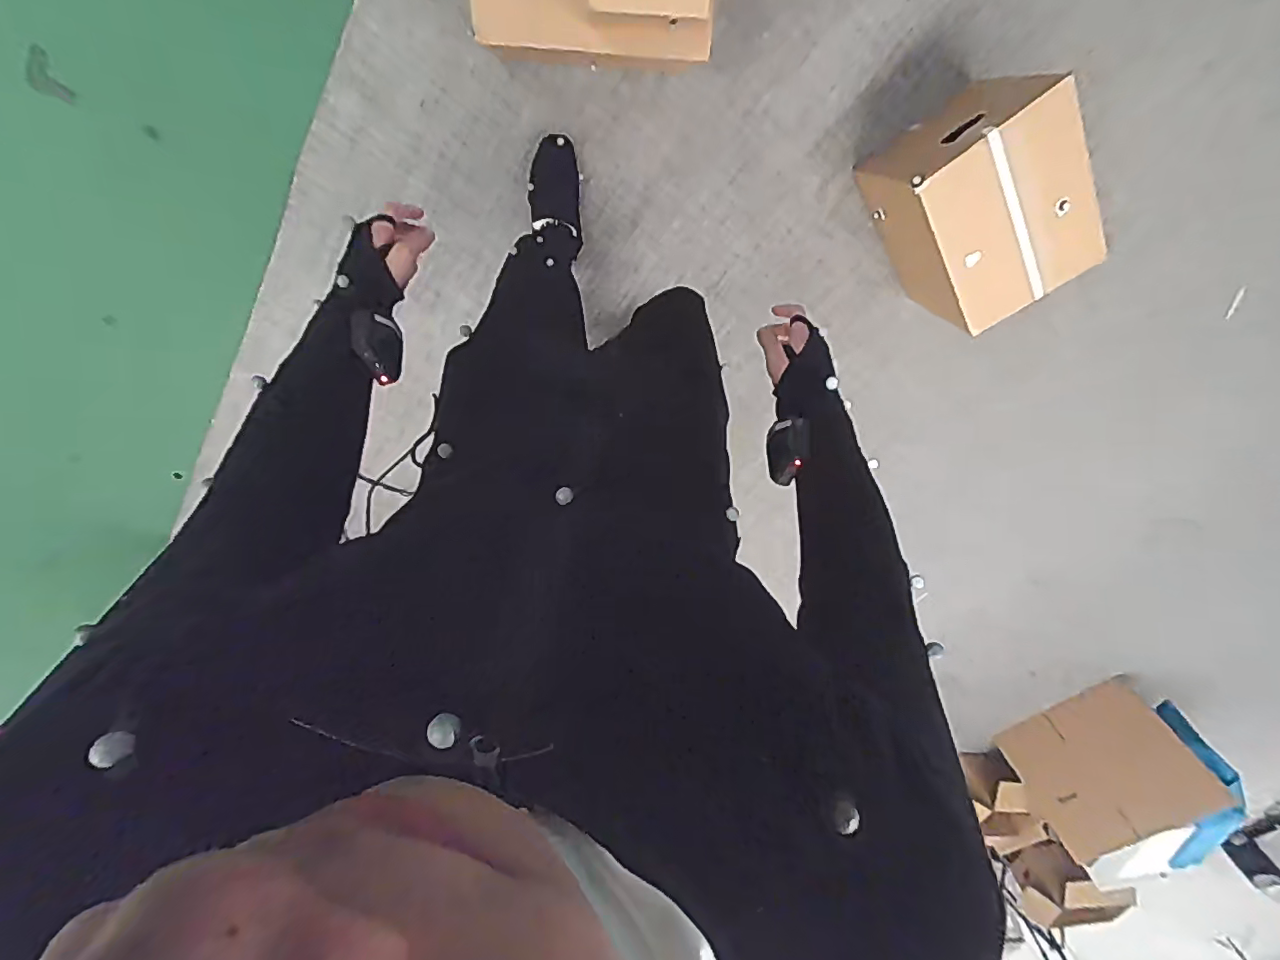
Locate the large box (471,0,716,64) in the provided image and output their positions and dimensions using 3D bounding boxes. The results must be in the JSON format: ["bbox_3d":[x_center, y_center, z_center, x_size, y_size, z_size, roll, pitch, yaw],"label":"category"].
[{"bbox_3d":[-0.079,-0.939,0.952,0.408,0.320,0.320,0,124,-5],"label":"large box"}]

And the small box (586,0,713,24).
[{"bbox_3d":[0.012,-0.772,0.775,0.179,0.176,0.168,-1,126,-5],"label":"small box"}]
